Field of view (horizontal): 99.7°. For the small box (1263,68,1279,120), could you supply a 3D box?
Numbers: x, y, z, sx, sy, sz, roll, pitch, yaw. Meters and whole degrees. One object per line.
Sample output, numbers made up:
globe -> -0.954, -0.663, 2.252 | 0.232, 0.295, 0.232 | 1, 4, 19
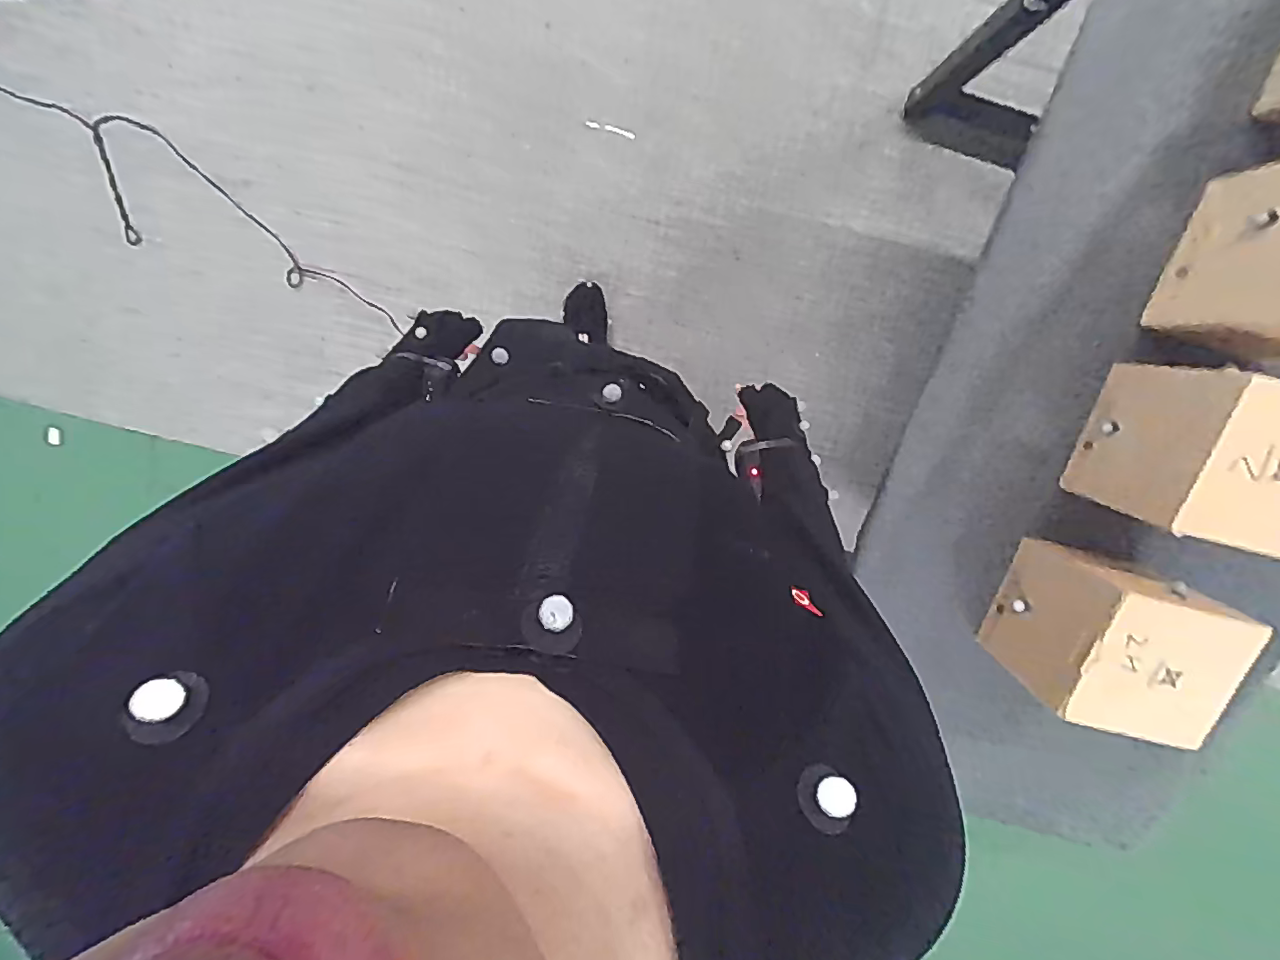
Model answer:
small box -> 0.776, -0.439, 0.504 | 0.179, 0.176, 0.168 | 12, 105, -3

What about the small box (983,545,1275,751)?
small box -> 0.586, 0.197, 0.677 | 0.179, 0.176, 0.168 | 14, 104, -3

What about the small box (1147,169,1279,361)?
small box -> 0.708, -0.221, 0.566 | 0.179, 0.176, 0.168 | 15, 105, -3
